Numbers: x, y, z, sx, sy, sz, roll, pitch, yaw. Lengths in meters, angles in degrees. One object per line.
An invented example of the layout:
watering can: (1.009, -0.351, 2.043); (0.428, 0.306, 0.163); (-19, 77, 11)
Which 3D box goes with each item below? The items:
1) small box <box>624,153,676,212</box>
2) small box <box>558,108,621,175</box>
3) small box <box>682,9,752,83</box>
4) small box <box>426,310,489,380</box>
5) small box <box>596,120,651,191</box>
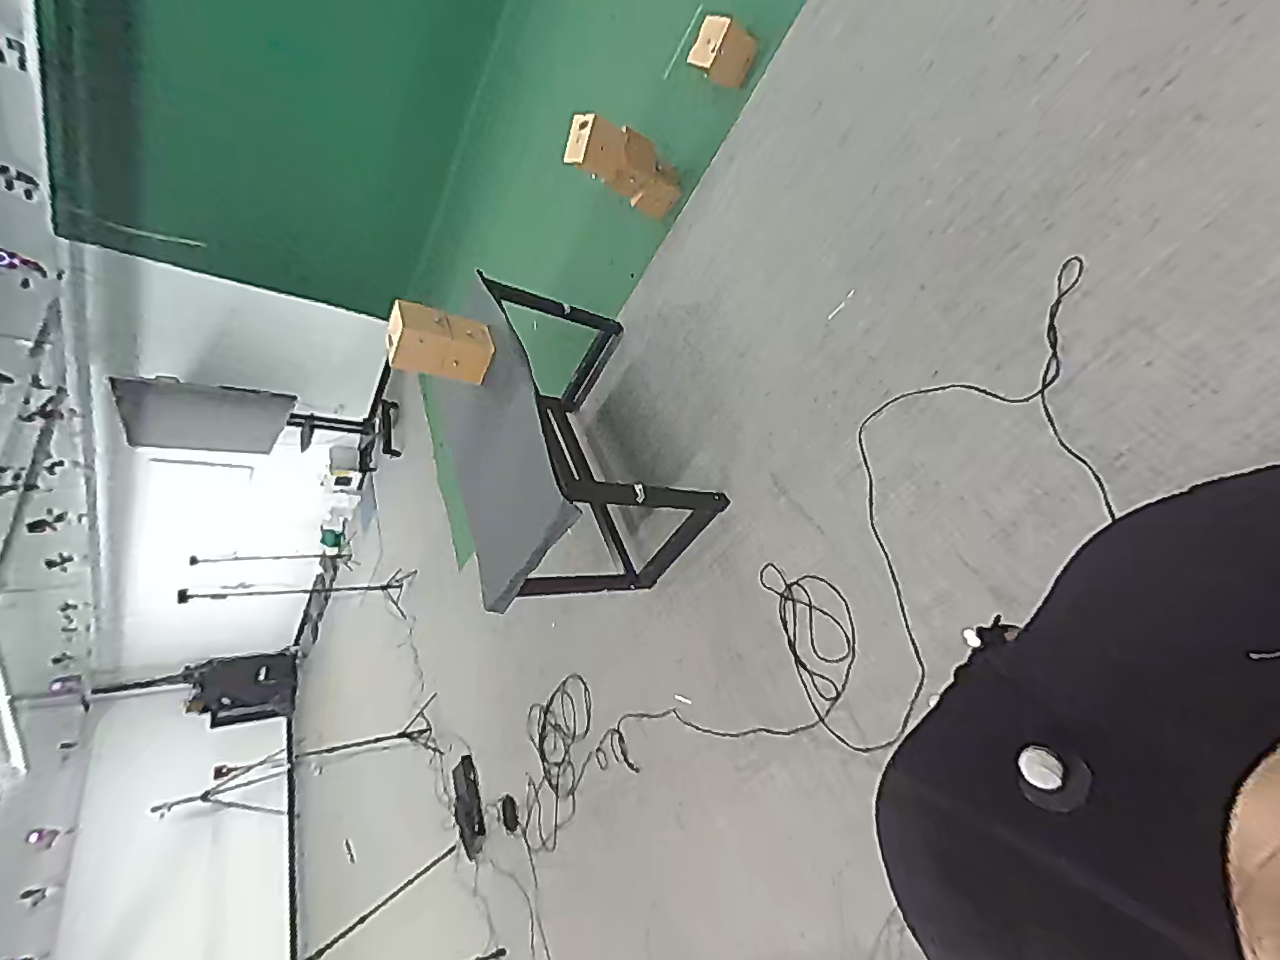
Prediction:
small box: (0.038, -1.322, 2.396); (0.168, 0.176, 0.179); (-35, 60, 42)
small box: (-0.199, -1.356, 2.171); (0.168, 0.176, 0.179); (37, 115, 44)
small box: (0.303, -1.697, 2.118); (0.168, 0.176, 0.179); (-60, 45, 26)
small box: (-0.679, -0.501, 2.025); (0.179, 0.176, 0.168); (-54, 49, 34)
small box: (-0.068, -1.350, 2.272); (0.168, 0.176, 0.179); (-6, 80, 48)
